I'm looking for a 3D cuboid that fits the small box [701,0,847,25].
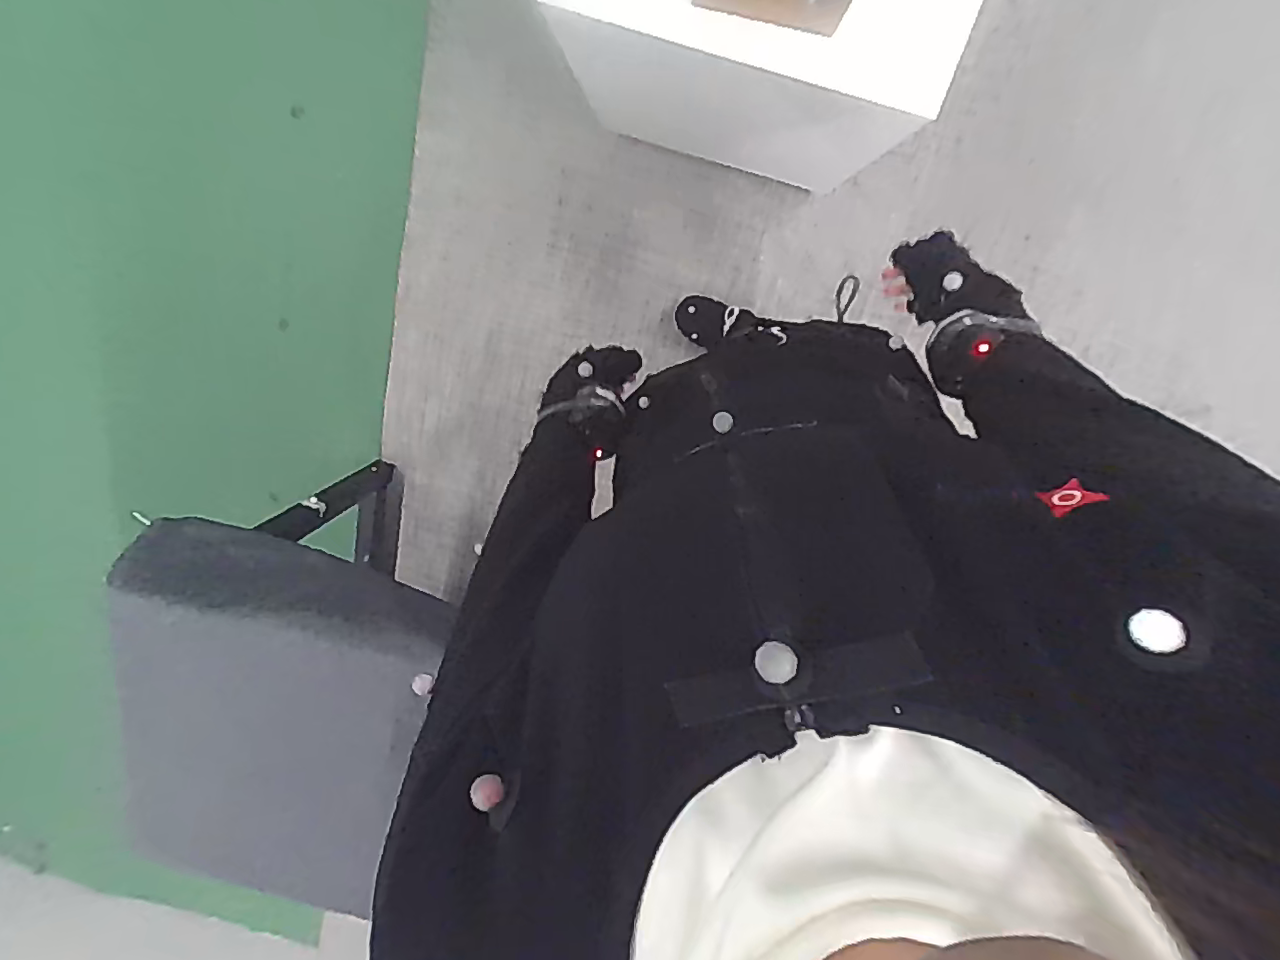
[{"bbox_3d":[0.153,-0.590,0.529,0.179,0.176,0.168,14,109,2],"label":"small box"}]
